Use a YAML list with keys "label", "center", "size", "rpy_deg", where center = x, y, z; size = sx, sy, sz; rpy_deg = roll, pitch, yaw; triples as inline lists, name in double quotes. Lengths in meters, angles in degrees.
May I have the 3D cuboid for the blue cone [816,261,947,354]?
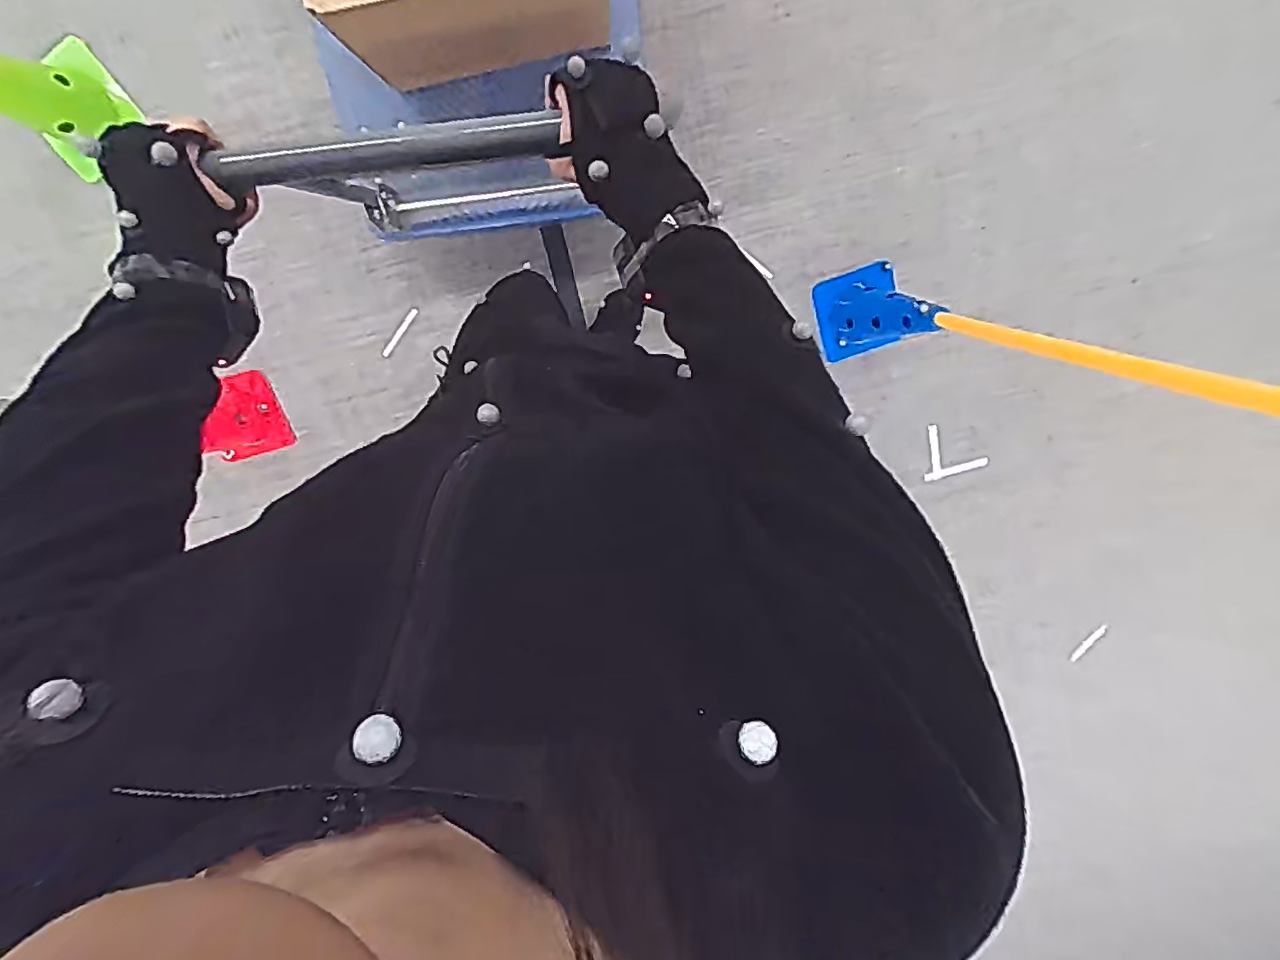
- label: "blue cone"
  center: [0.547, -0.368, 1.177]
  size: [0.193, 0.380, 0.192]
  rpy_deg: [-17, 108, 3]
